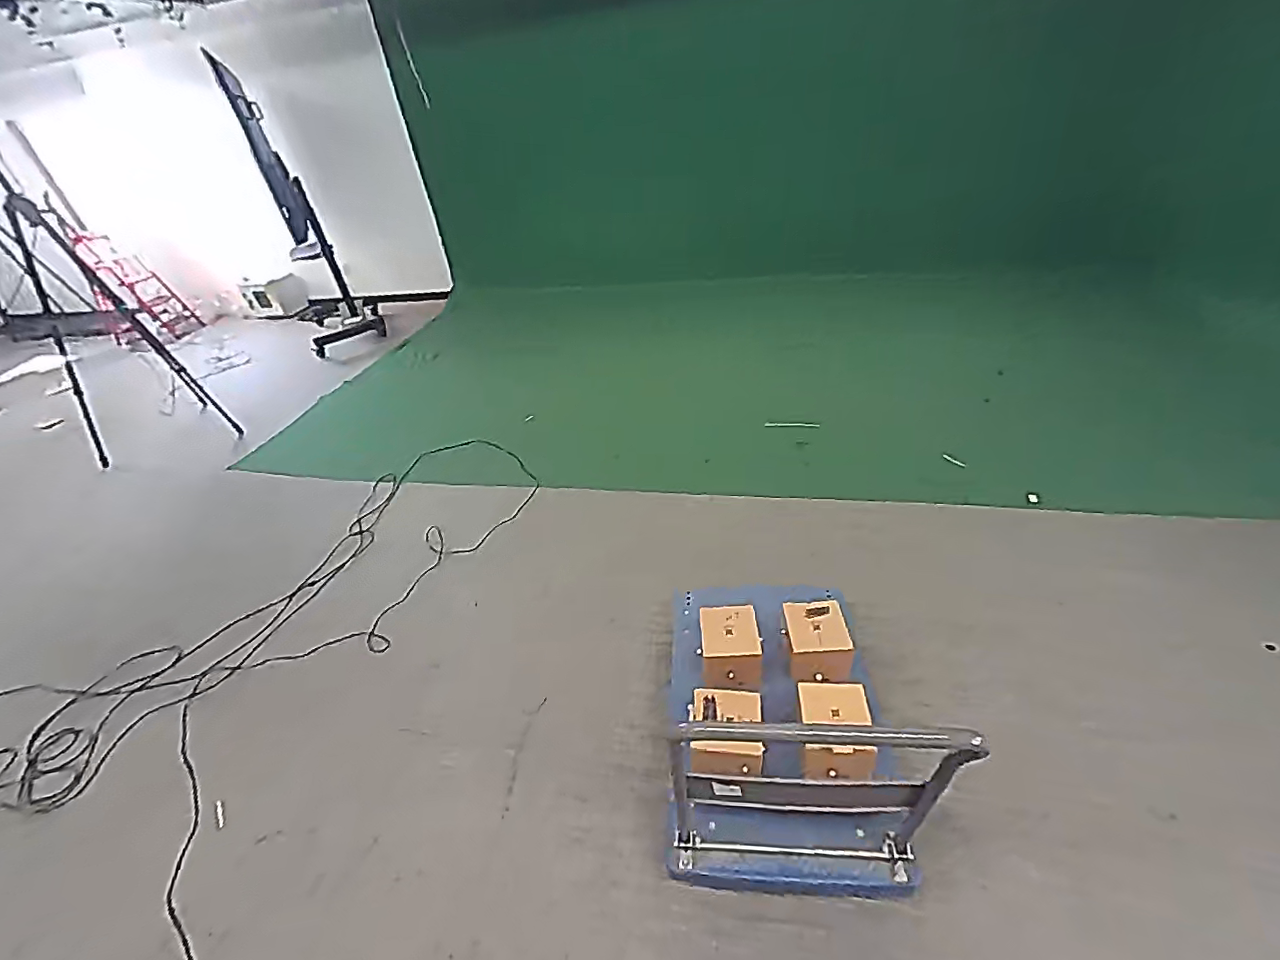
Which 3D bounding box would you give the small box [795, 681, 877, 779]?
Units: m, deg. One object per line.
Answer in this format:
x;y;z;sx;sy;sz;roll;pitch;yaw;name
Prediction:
0.504;0.653;1.417;0.168;0.176;0.179;-2;38;8;small box

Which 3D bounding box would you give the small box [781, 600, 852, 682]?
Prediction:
0.525;0.485;1.629;0.168;0.176;0.179;-5;38;6;small box

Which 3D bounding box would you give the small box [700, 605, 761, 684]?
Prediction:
0.274;0.507;1.649;0.168;0.176;0.179;-4;37;4;small box
